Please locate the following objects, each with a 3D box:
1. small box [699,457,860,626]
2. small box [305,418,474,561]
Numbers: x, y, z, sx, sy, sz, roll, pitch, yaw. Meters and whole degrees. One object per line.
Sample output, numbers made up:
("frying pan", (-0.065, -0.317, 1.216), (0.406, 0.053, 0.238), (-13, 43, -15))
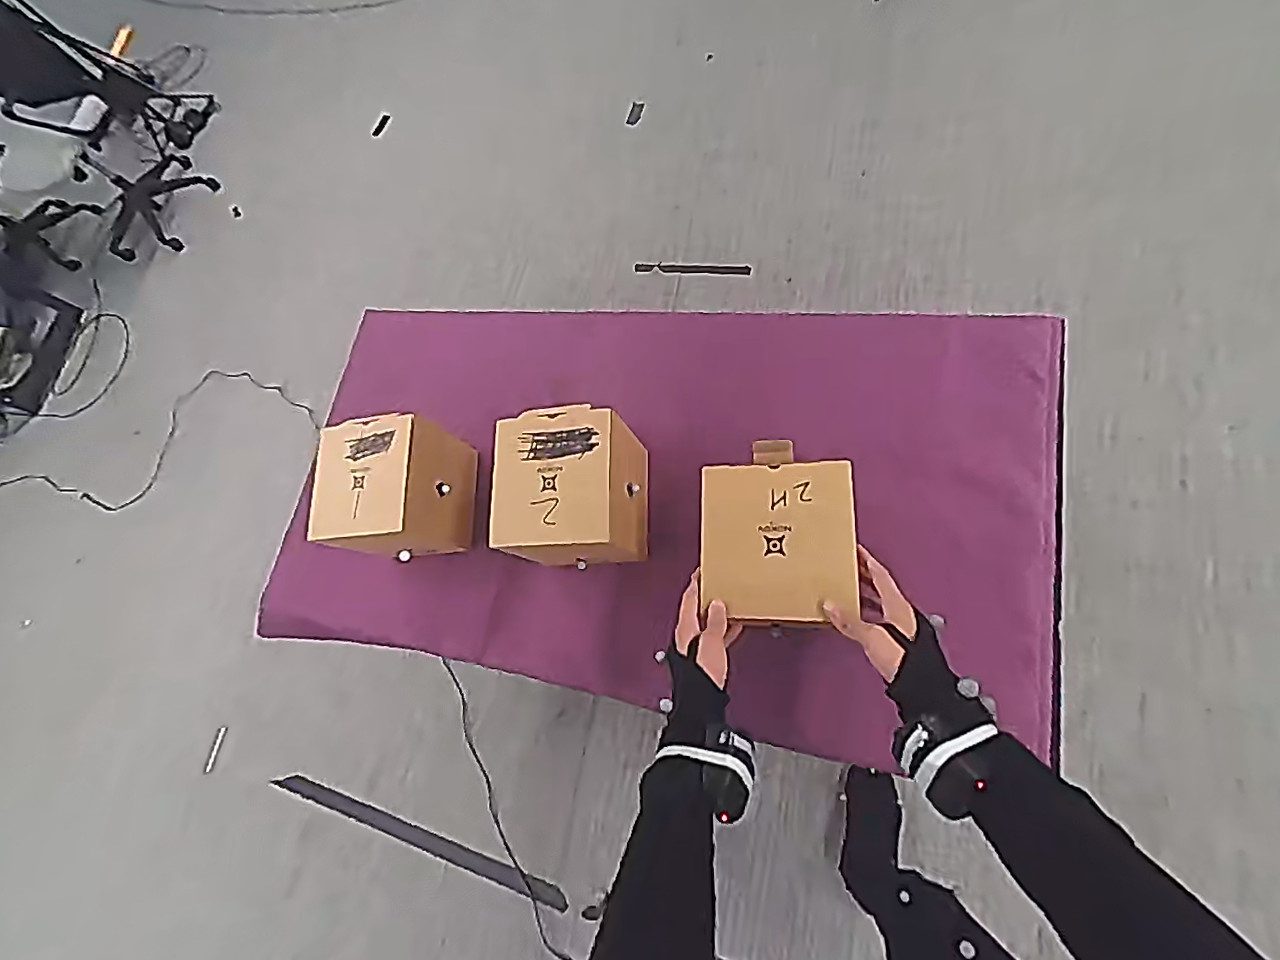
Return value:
("small box", (0.169, 0.082, 0.652), (0.168, 0.176, 0.179), (-2, 73, 16))
("small box", (-0.376, 0.024, 0.845), (0.168, 0.176, 0.179), (-7, 73, 16))
